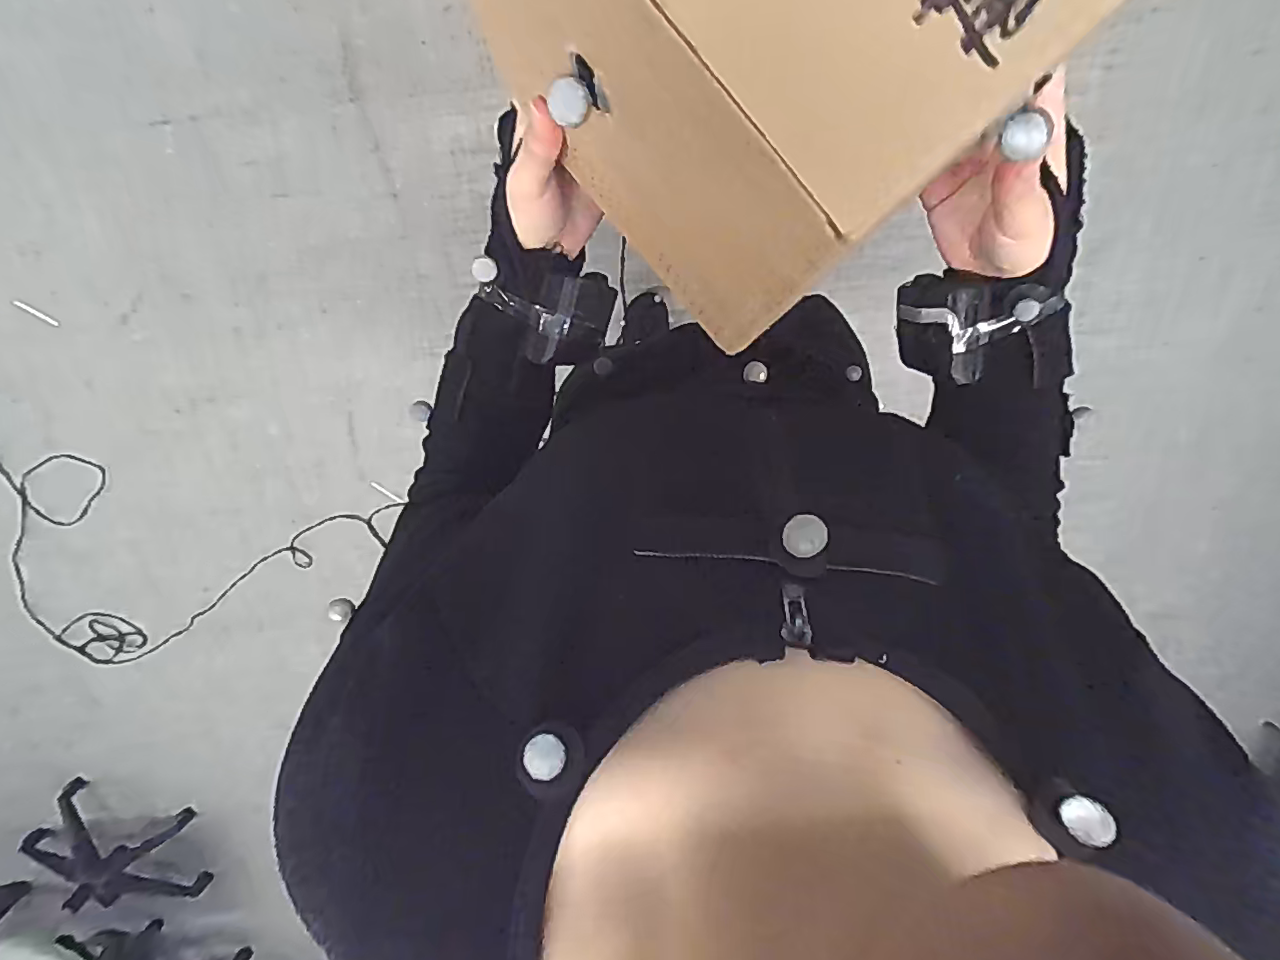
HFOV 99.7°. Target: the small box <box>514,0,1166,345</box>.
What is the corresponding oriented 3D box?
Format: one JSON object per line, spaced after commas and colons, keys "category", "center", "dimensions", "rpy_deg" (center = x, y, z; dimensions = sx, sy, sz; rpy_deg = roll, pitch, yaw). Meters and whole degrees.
{"category": "small box", "center": [0.061, -0.178, 0.210], "dimensions": [0.168, 0.176, 0.179], "rpy_deg": [-41, 92, 3]}
